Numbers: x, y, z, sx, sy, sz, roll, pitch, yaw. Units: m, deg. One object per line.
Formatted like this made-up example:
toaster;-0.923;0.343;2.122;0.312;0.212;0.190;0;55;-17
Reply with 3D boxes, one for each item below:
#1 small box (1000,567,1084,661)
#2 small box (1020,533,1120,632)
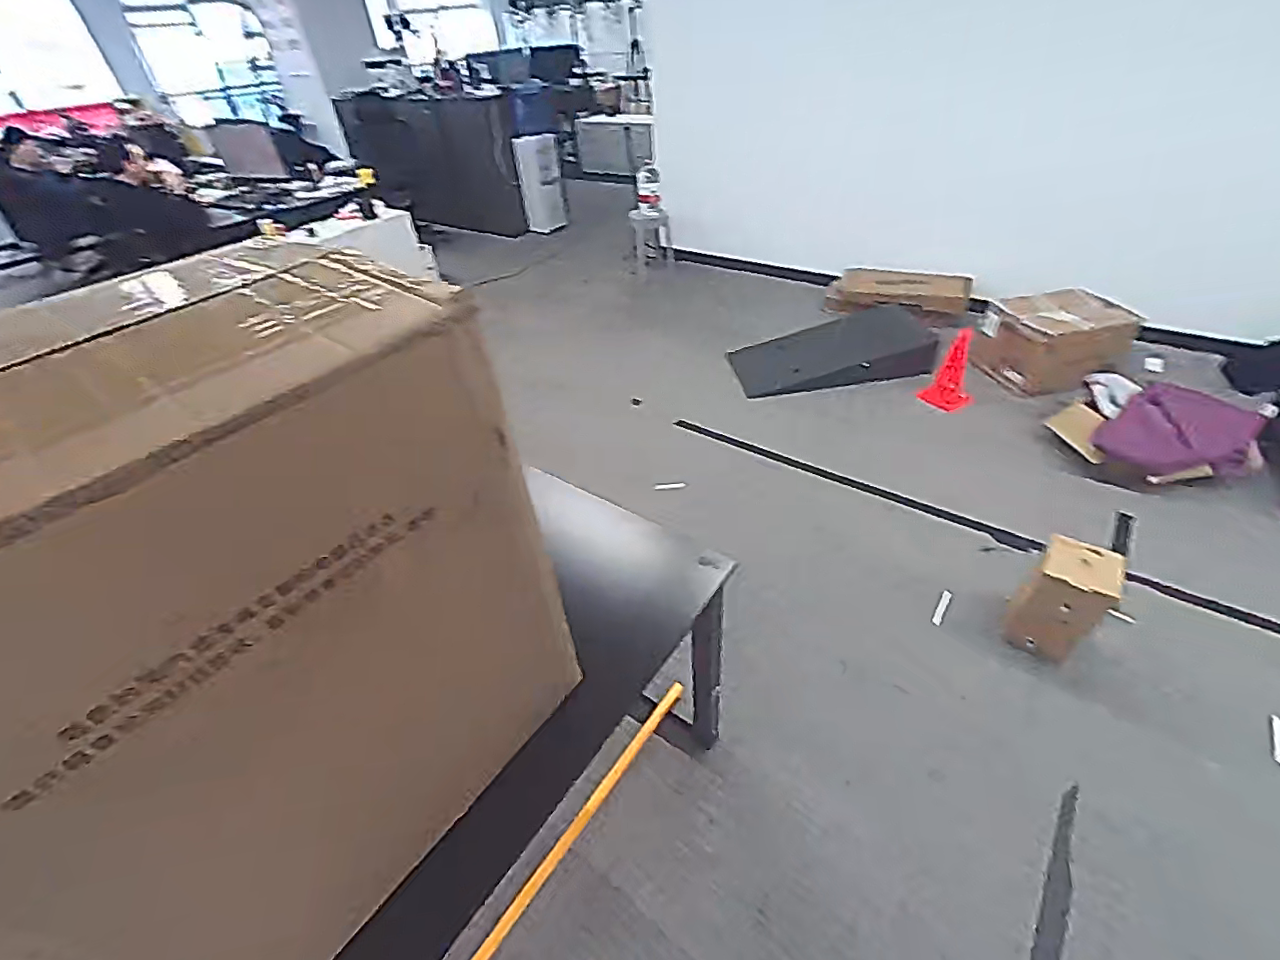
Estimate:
small box;1.206;0.401;1.616;0.168;0.176;0.179;21;48;29
small box;1.186;0.287;1.498;0.168;0.176;0.179;23;48;30
